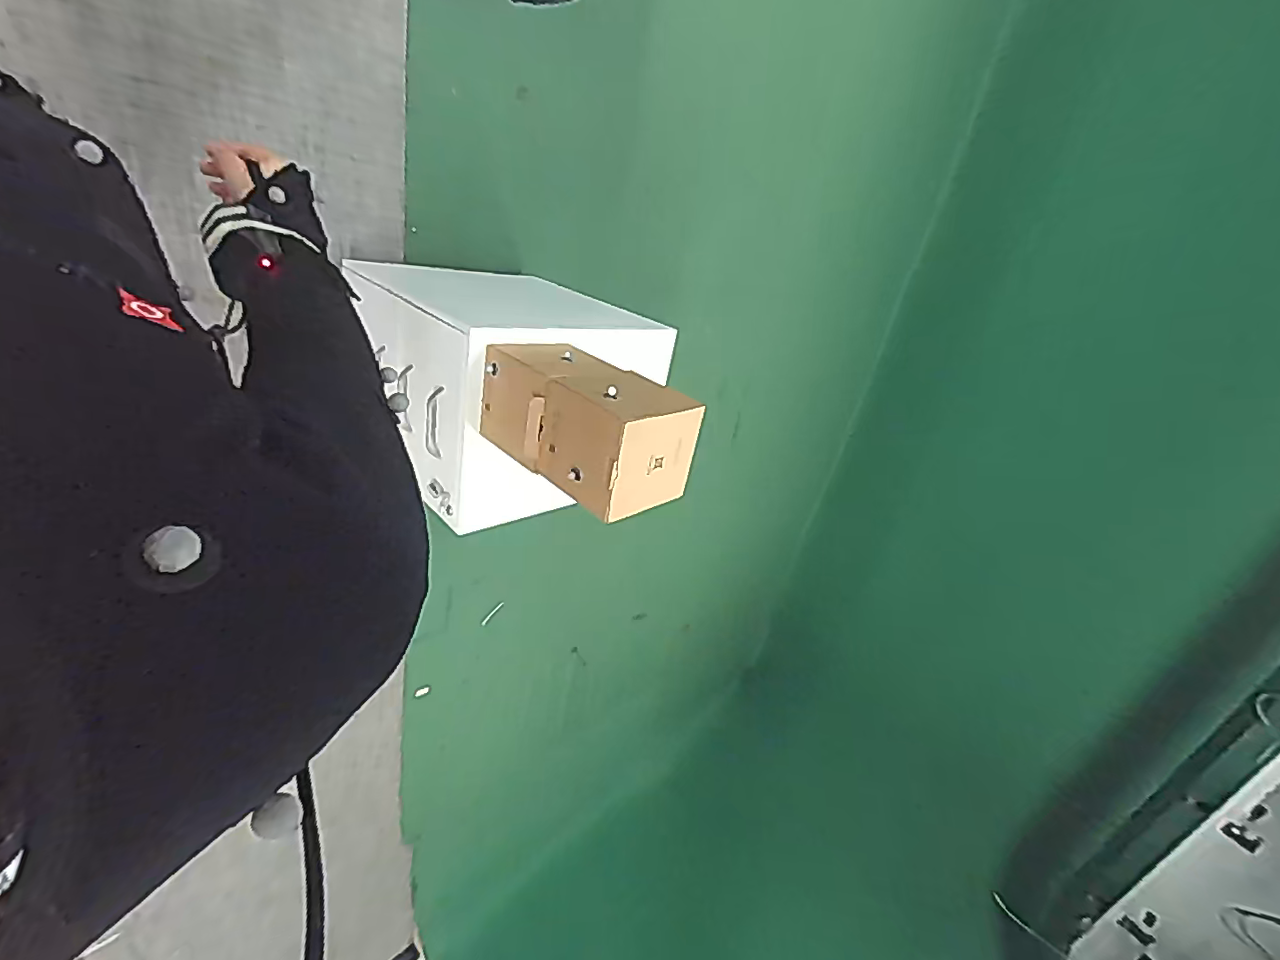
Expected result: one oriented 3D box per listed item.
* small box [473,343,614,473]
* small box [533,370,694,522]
[{"bbox_3d":[-0.168,-0.131,0.934,0.179,0.176,0.168,-16,128,-46],"label":"small box"},{"bbox_3d":[-0.047,-0.063,0.849,0.179,0.176,0.168,-19,132,-45],"label":"small box"}]
